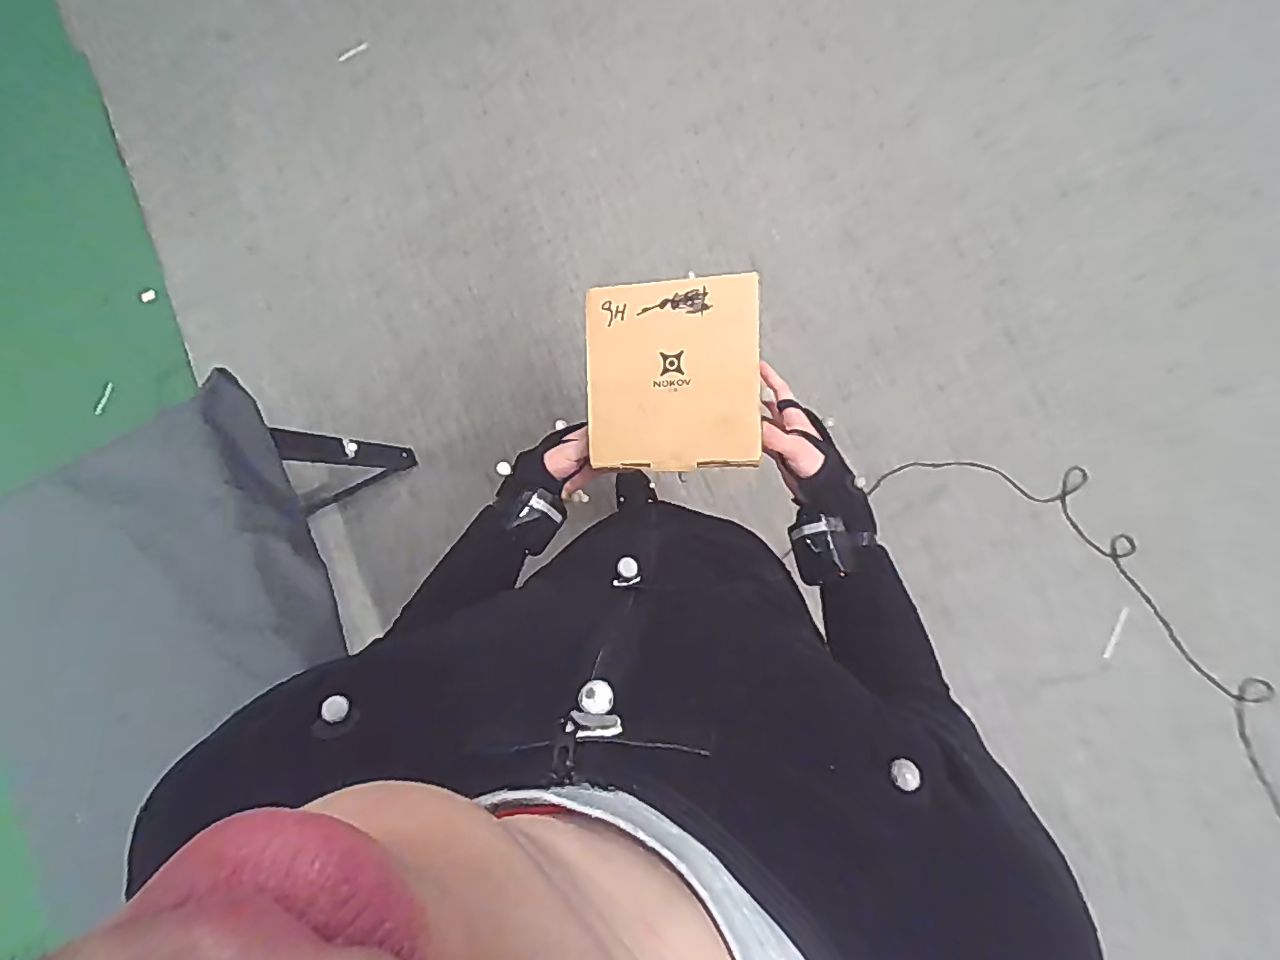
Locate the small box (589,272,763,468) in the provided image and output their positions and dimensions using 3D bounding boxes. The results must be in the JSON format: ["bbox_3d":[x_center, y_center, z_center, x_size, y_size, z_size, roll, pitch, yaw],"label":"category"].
[{"bbox_3d":[0.047,-0.103,0.582,0.168,0.176,0.179,-1,91,11],"label":"small box"}]
